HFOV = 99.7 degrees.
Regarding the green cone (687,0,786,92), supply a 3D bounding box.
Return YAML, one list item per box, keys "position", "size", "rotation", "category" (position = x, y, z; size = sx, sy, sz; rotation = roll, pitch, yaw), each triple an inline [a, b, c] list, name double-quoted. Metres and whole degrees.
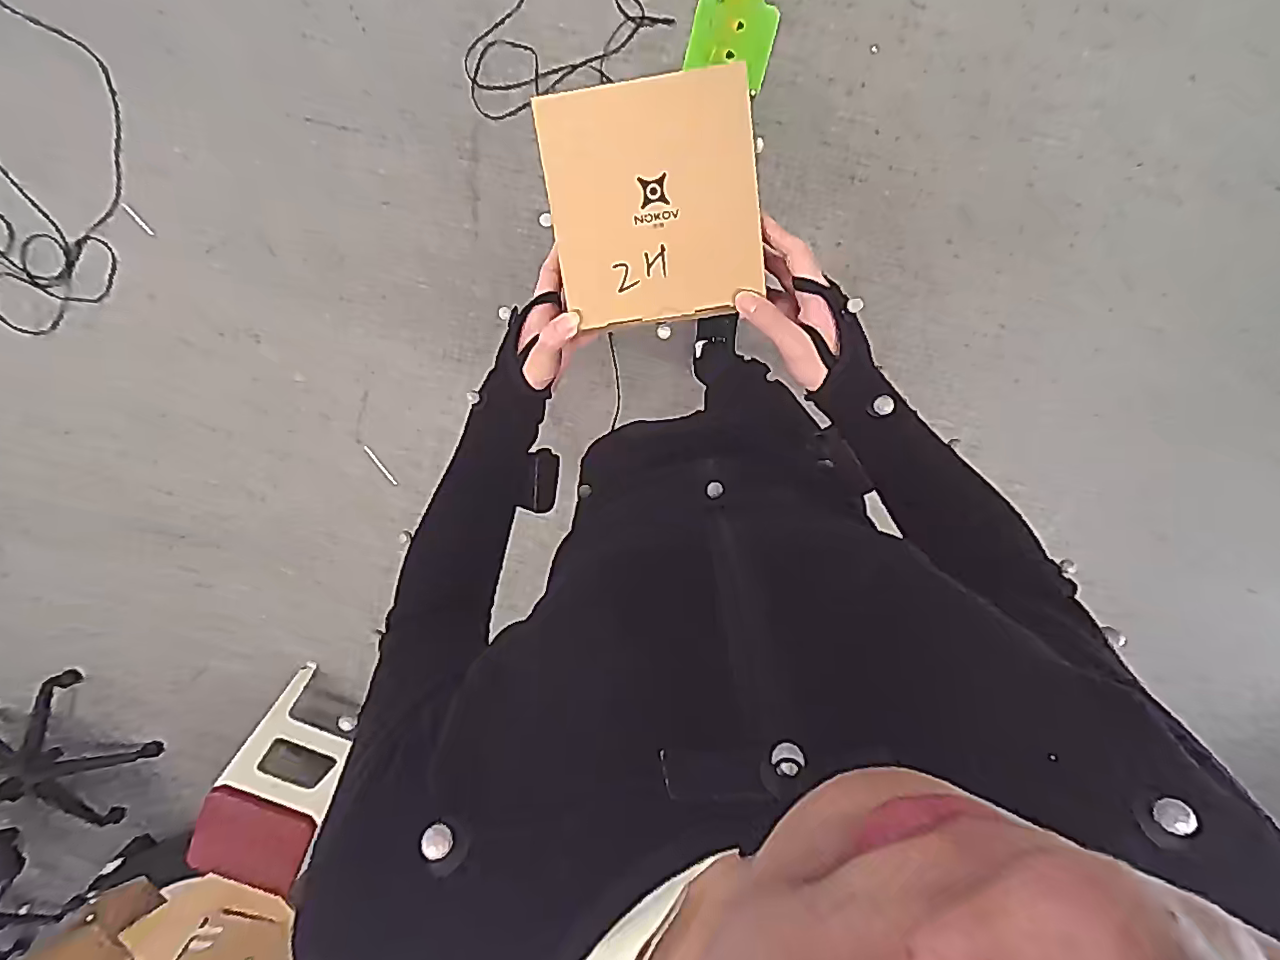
- position: [0.223, -1.010, 1.120]
  size: [0.202, 0.368, 0.200]
  rotation: [14, 105, -2]
  category: "green cone"
